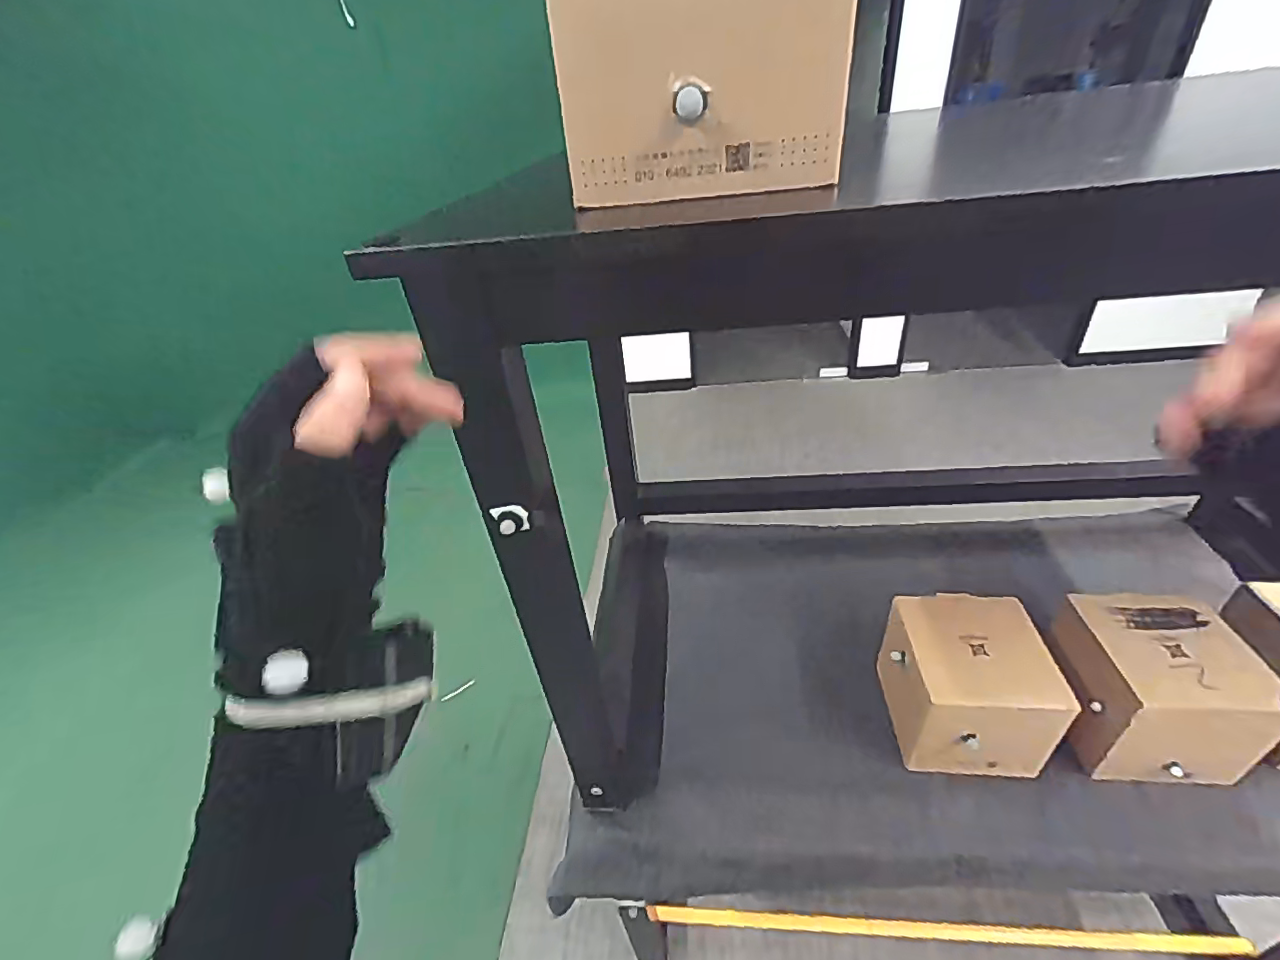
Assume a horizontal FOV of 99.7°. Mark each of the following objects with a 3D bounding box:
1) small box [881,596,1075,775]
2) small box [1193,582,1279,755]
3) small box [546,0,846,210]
[{"bbox_3d":[0.448,0.283,0.752,0.168,0.176,0.179,-1,35,9],"label":"small box"},{"bbox_3d":[0.897,0.254,0.700,0.168,0.176,0.179,0,35,10],"label":"small box"},{"bbox_3d":[0.036,-0.290,0.365,0.168,0.176,0.179,-2,36,8],"label":"small box"}]
